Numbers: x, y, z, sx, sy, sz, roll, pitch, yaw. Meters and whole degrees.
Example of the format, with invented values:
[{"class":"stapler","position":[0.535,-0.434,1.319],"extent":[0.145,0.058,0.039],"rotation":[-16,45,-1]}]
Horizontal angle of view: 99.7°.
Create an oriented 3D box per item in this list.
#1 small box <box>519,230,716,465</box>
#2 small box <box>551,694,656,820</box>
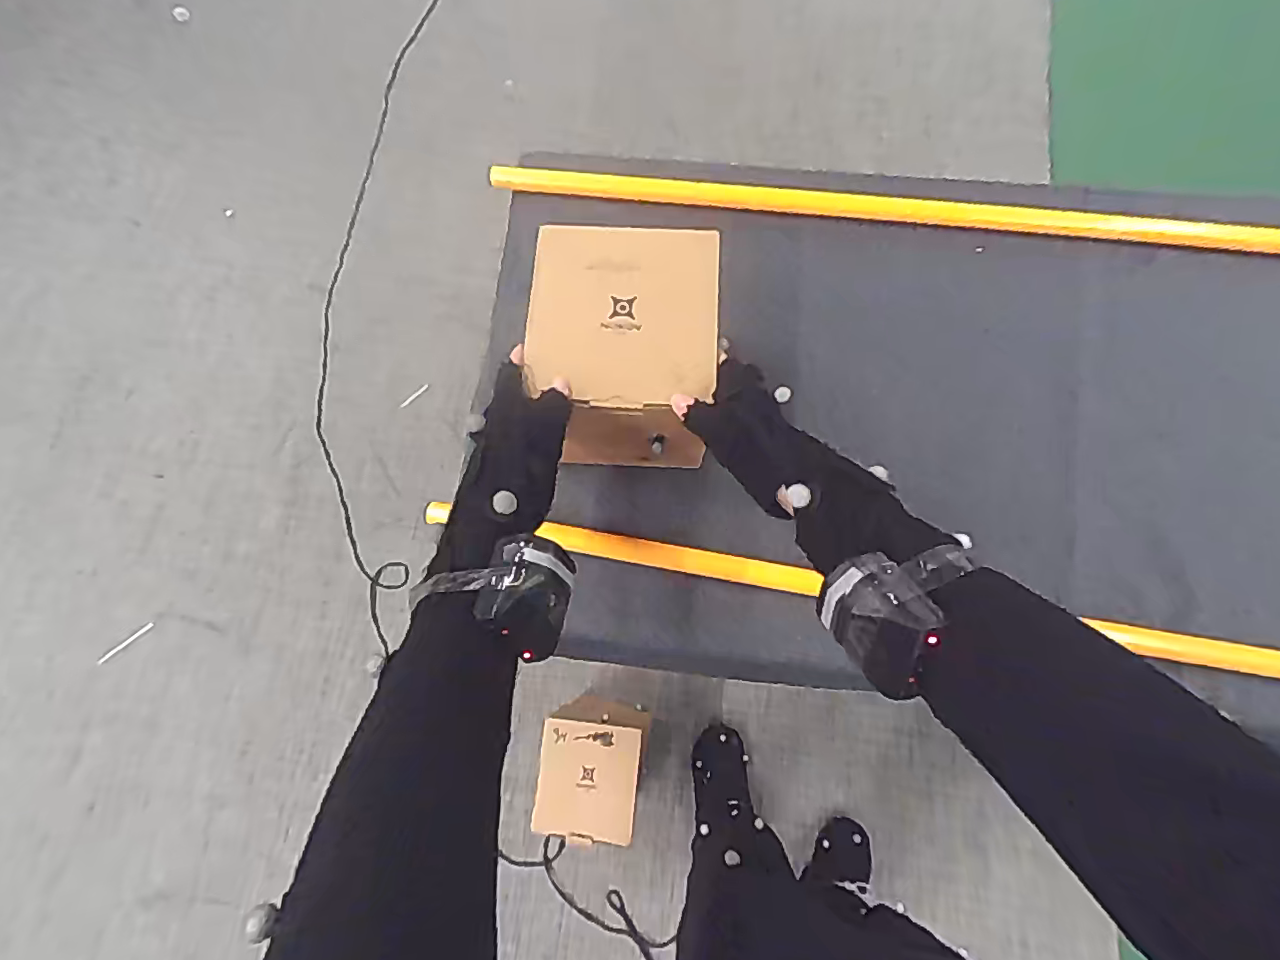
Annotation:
[{"class":"small box","position":[-0.014,-0.121,0.547],"extent":[0.168,0.176,0.179],"rotation":[2,73,1]},{"class":"small box","position":[-0.068,0.557,1.117],"extent":[0.168,0.176,0.179],"rotation":[14,77,7]}]
